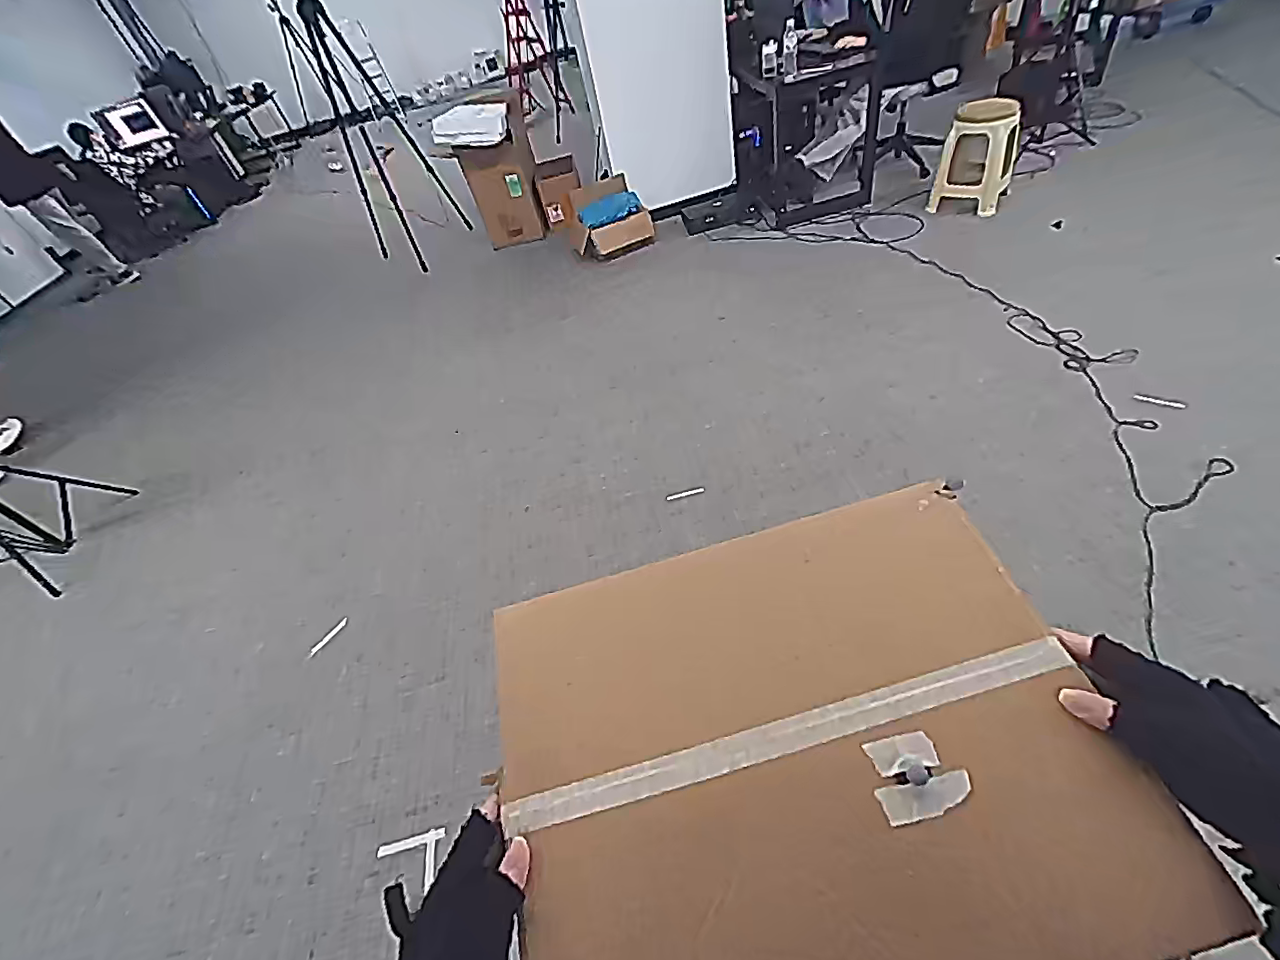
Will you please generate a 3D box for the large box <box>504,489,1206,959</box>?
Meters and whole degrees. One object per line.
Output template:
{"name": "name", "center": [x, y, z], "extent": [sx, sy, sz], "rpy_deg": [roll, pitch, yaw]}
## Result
{"name": "large box", "center": [0.126, 0.266, 0.514], "extent": [0.408, 0.320, 0.320], "rpy_deg": [-16, 55, -2]}
